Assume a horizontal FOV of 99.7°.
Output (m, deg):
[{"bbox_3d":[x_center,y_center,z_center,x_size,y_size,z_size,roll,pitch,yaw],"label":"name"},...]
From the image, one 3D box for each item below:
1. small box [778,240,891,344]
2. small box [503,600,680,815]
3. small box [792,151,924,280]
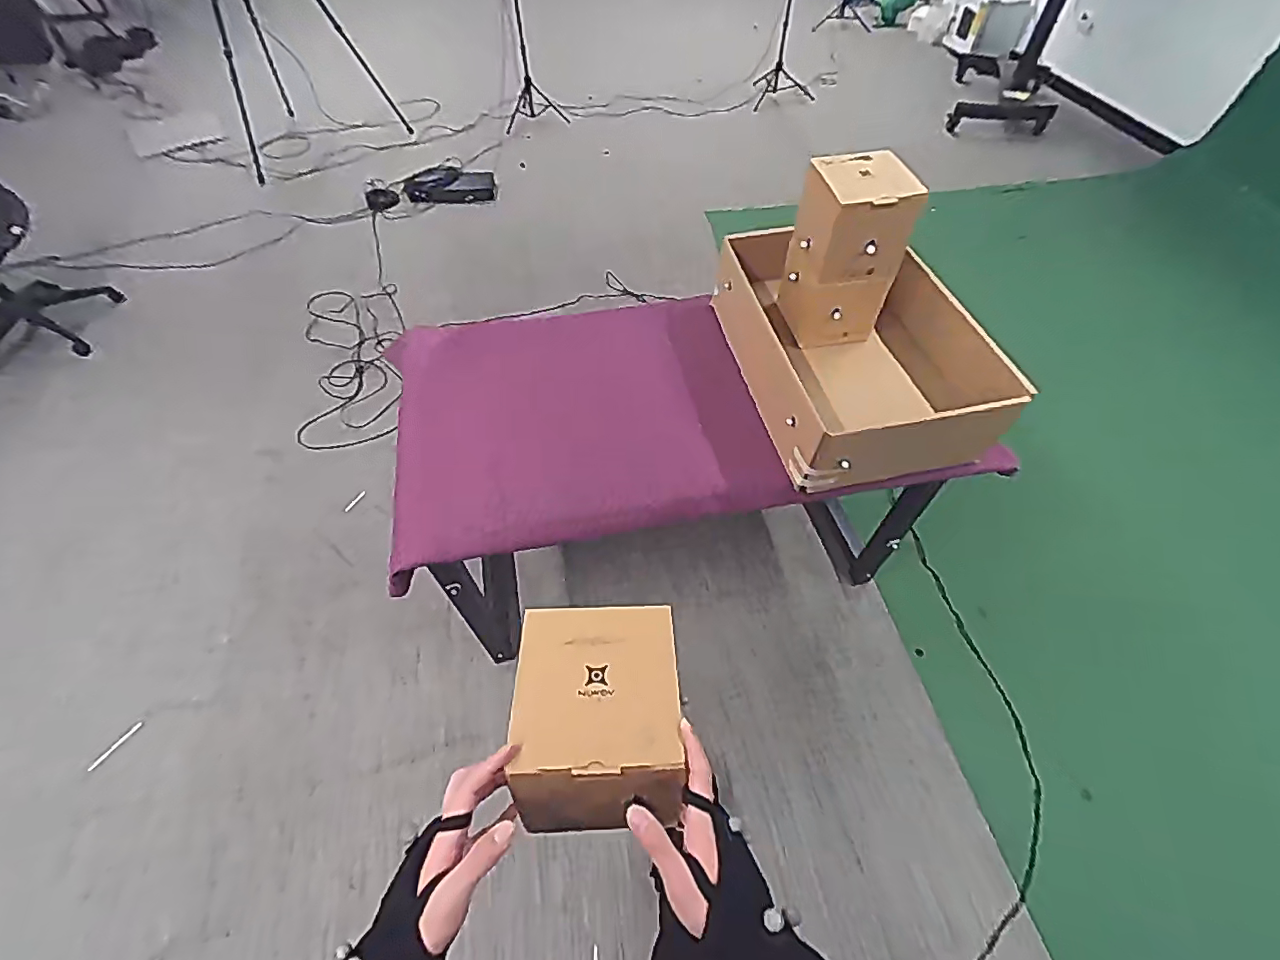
[{"bbox_3d":[0.420,-0.419,1.201,0.168,0.176,0.179,-8,56,-4],"label":"small box"},{"bbox_3d":[-0.045,0.256,0.603,0.168,0.176,0.179,-1,42,-2],"label":"small box"},{"bbox_3d":[0.418,-0.514,1.068,0.168,0.176,0.179,-8,56,-4],"label":"small box"}]
